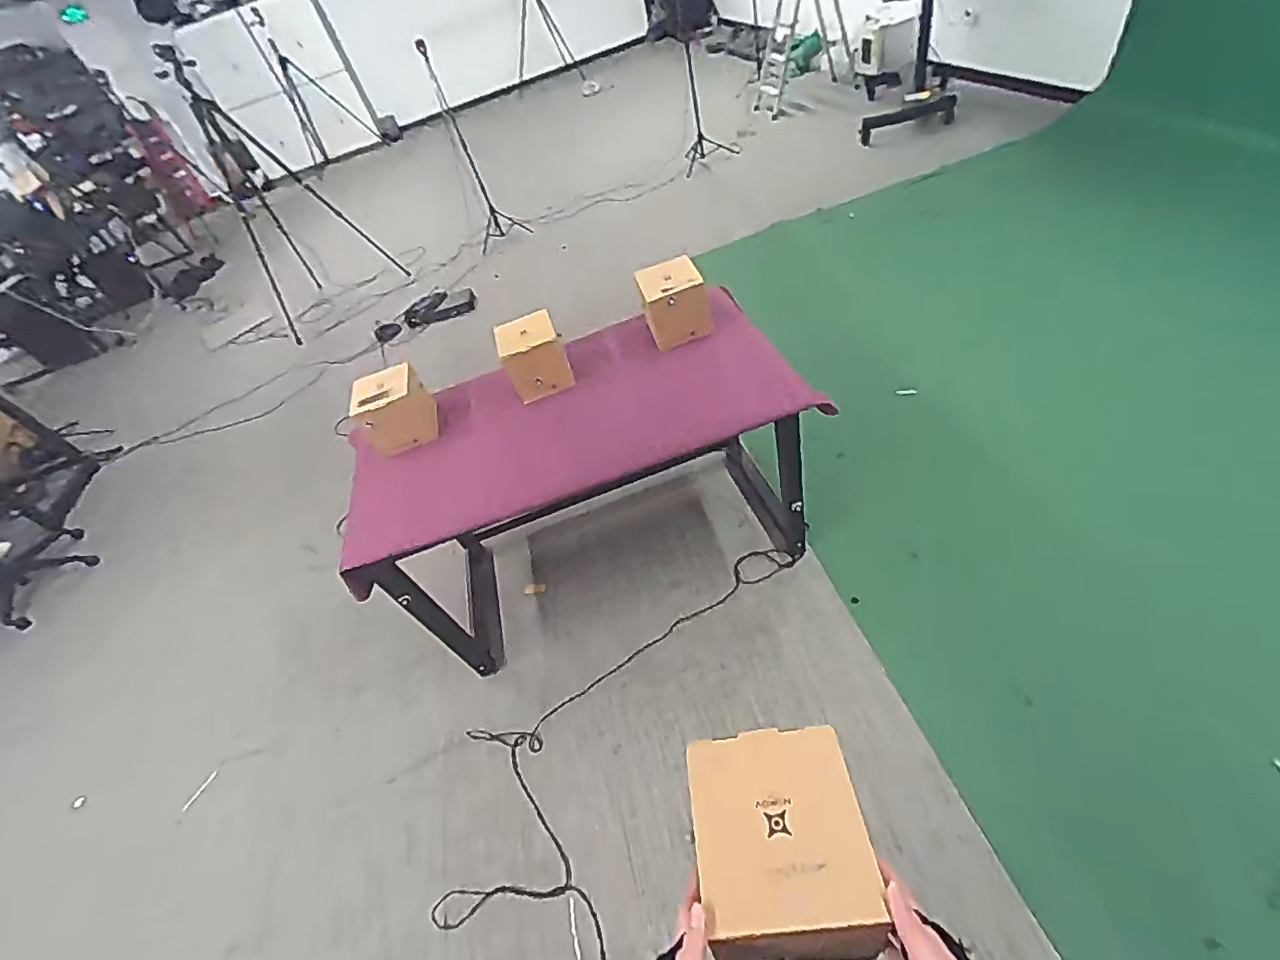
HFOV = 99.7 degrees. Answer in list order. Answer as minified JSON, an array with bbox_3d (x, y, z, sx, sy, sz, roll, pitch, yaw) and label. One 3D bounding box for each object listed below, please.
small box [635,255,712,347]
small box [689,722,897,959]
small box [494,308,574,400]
[{"bbox_3d":[0.098,-0.514,1.560,0.168,0.176,0.179,-20,47,2],"label":"small box"},{"bbox_3d":[0.147,0.389,0.576,0.168,0.176,0.179,-9,39,4],"label":"small box"},{"bbox_3d":[-0.304,-0.361,1.556,0.168,0.176,0.179,-21,47,-2],"label":"small box"}]
